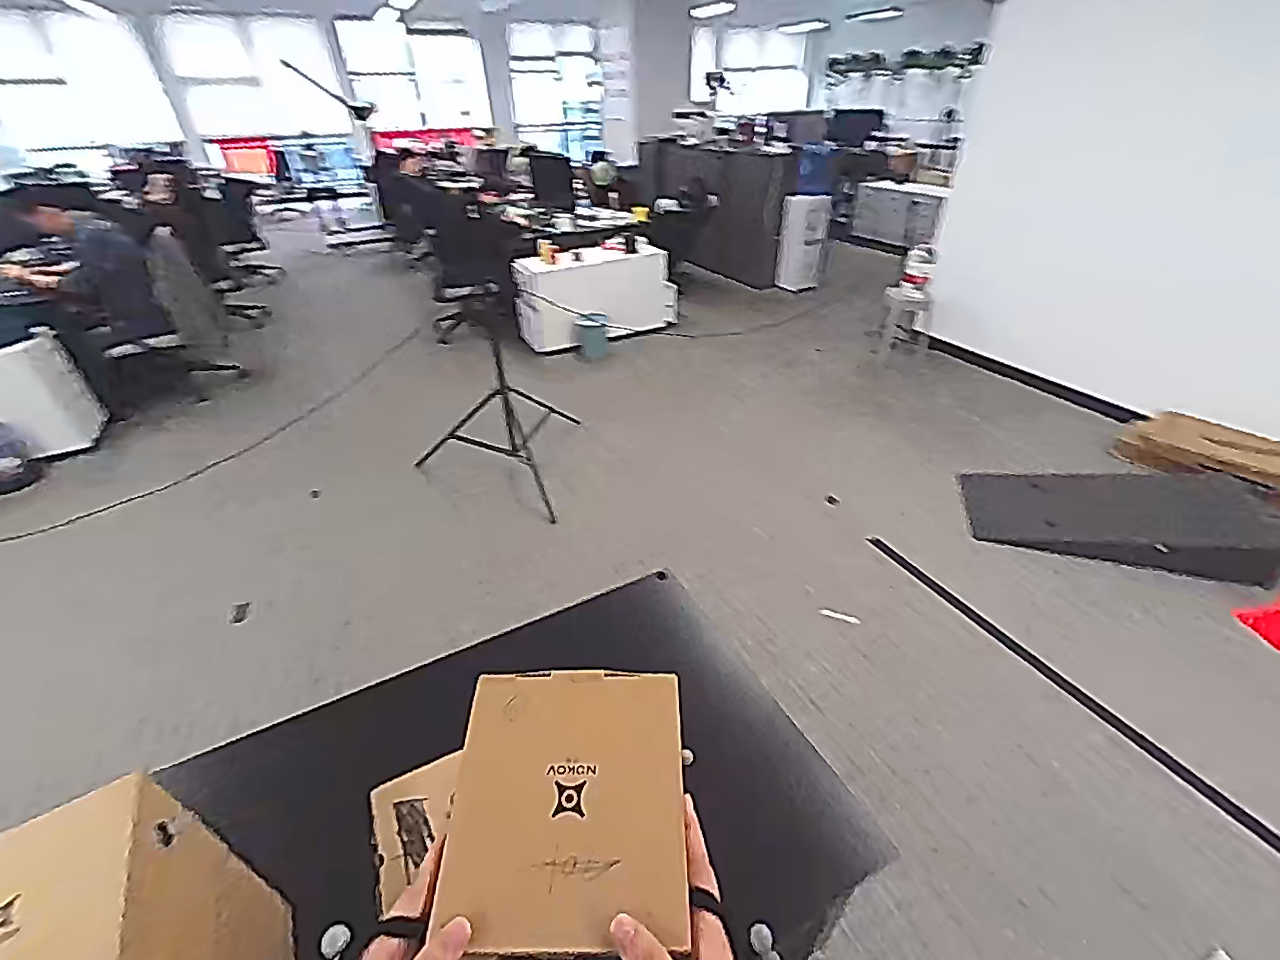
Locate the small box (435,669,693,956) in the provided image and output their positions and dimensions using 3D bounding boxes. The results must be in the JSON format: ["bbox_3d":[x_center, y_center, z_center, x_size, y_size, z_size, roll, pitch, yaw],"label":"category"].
[{"bbox_3d":[-0.046,0.277,0.451,0.168,0.176,0.179,0,48,1],"label":"small box"}]

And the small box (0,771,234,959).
[{"bbox_3d":[-0.466,0.396,0.446,0.168,0.176,0.179,-23,40,-26],"label":"small box"}]

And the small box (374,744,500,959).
[{"bbox_3d":[-0.197,0.445,0.648,0.179,0.176,0.168,-17,37,-21],"label":"small box"}]

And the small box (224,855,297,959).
[{"bbox_3d":[-0.460,0.535,0.537,0.168,0.176,0.179,-21,40,-25],"label":"small box"}]
